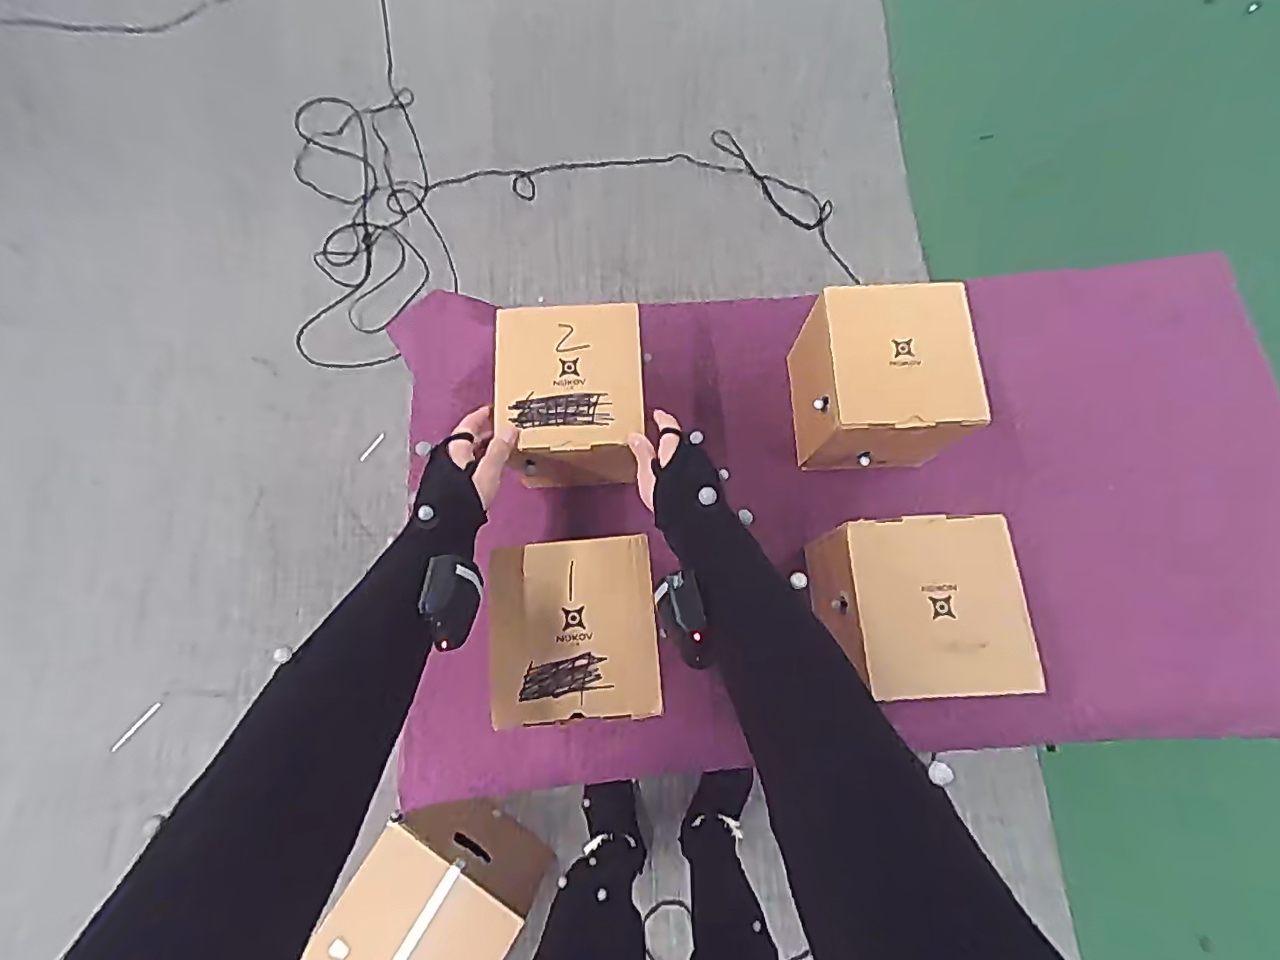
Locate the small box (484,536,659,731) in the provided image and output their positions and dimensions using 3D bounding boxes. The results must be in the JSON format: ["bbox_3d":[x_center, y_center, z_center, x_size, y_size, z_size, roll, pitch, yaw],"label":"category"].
[{"bbox_3d":[-0.066,0.167,0.602,0.168,0.176,0.179,-5,73,0],"label":"small box"}]

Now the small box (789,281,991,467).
[{"bbox_3d":[0.292,-0.123,0.674,0.168,0.176,0.179,-2,76,0],"label":"small box"}]

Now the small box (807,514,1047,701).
[{"bbox_3d":[0.295,0.143,0.601,0.168,0.176,0.179,-3,74,2],"label":"small box"}]

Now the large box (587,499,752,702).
[{"bbox_3d":[0.058,0.285,1.255,0.320,0.320,0.408,-4,74,0],"label":"large box"}]
